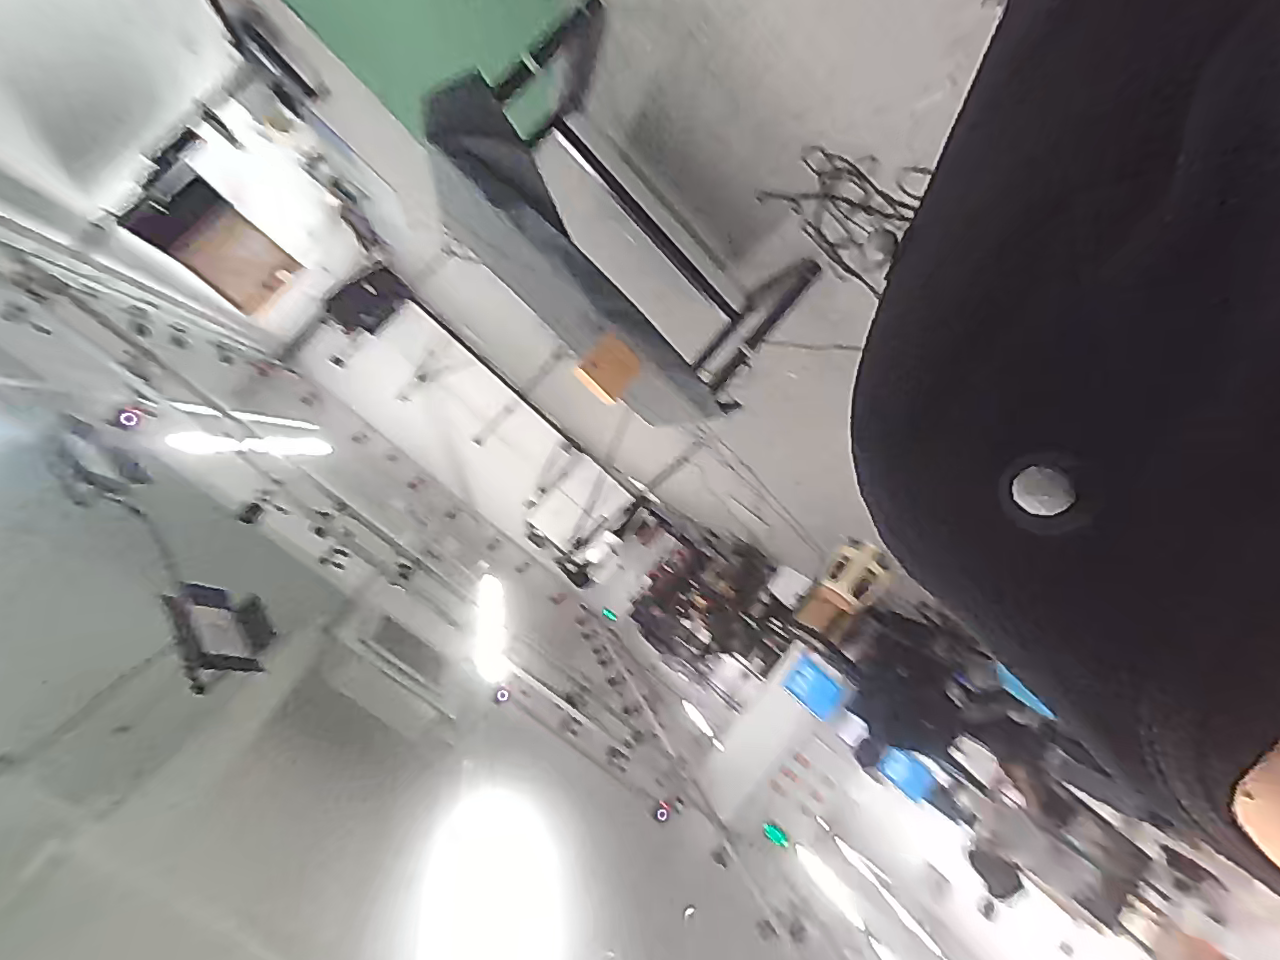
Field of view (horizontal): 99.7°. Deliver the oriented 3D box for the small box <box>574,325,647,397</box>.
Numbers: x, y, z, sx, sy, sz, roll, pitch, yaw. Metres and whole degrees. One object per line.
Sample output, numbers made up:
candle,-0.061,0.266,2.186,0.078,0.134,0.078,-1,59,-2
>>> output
small box,-0.103,-0.413,1.893,0.179,0.176,0.168,44,173,-16
